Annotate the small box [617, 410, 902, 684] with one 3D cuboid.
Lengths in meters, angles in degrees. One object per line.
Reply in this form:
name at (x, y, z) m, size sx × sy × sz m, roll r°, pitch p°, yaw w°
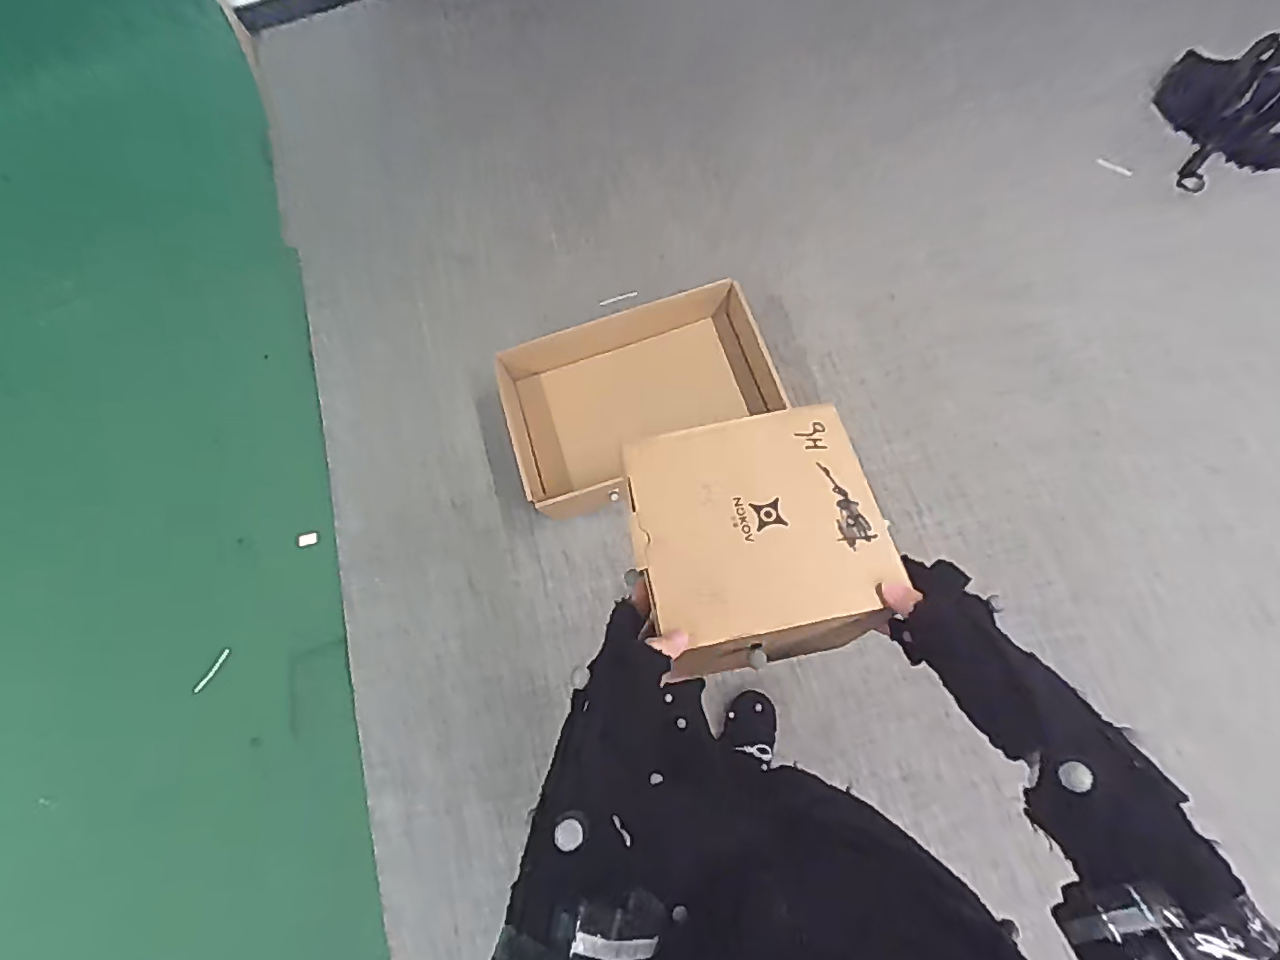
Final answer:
small box at (0.087, 0.068, 0.478) m, size 0.179 × 0.176 × 0.168 m, roll -13°, pitch 61°, yaw -4°
